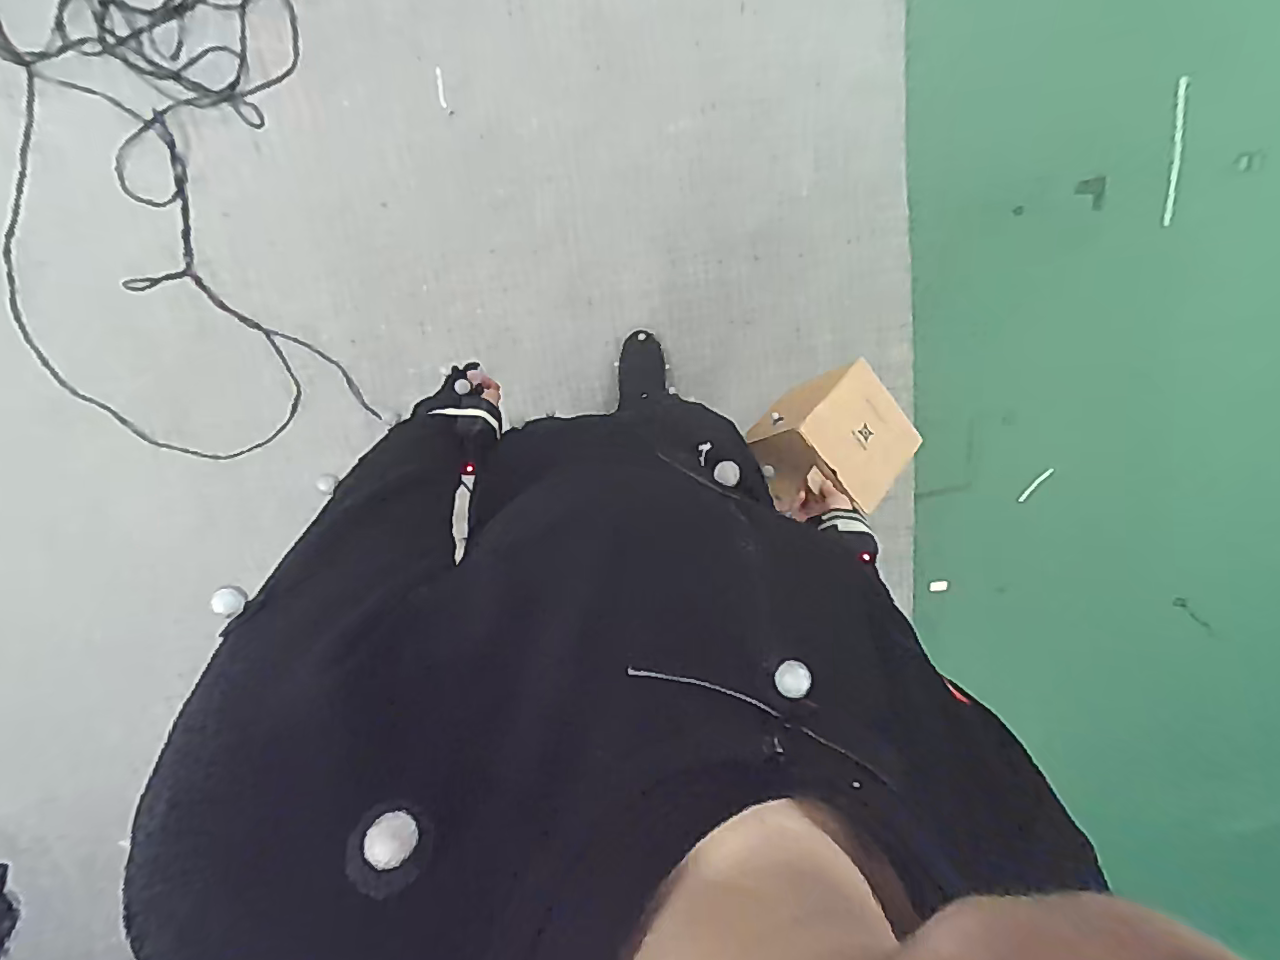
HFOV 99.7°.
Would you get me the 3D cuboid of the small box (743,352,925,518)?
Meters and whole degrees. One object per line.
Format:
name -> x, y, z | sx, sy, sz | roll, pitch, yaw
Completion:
small box -> 0.284, -0.058, 0.828 | 0.168, 0.176, 0.179 | 48, 67, -10
